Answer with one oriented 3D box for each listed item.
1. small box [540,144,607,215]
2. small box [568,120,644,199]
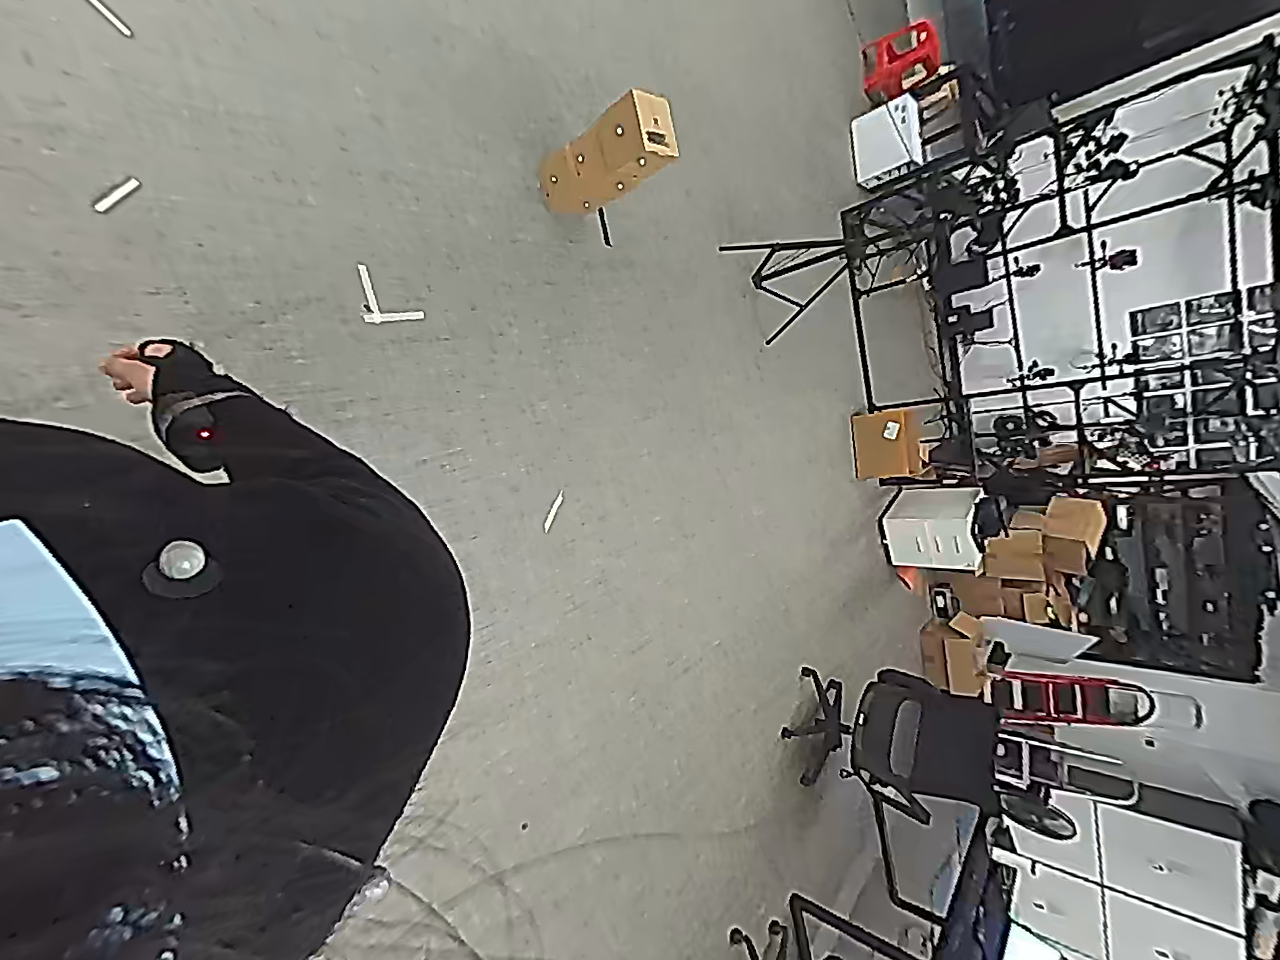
[{"bbox_3d":[-0.240,-1.068,1.938,0.179,0.176,0.168,-22,104,-45],"label":"small box"},{"bbox_3d":[-0.116,-1.074,1.833,0.179,0.176,0.168,-19,101,-44],"label":"small box"}]
